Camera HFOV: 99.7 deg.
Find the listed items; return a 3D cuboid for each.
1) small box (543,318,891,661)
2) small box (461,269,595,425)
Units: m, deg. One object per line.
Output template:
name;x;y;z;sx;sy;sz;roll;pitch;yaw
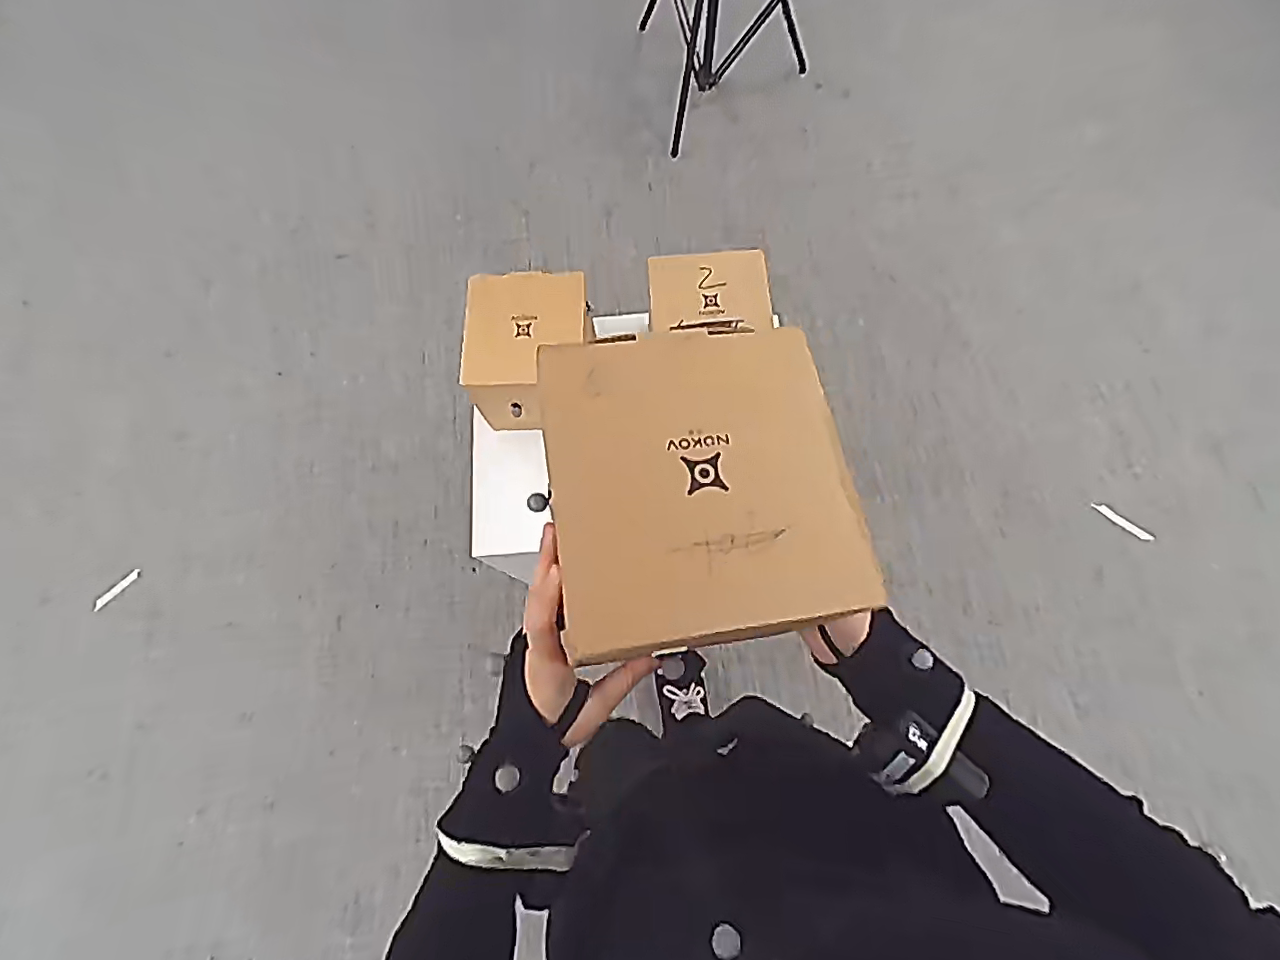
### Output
small box;0.027;0.017;0.367;0.168;0.176;0.179;-7;70;-9
small box;-0.154;-0.187;0.809;0.168;0.176;0.179;-2;73;1
